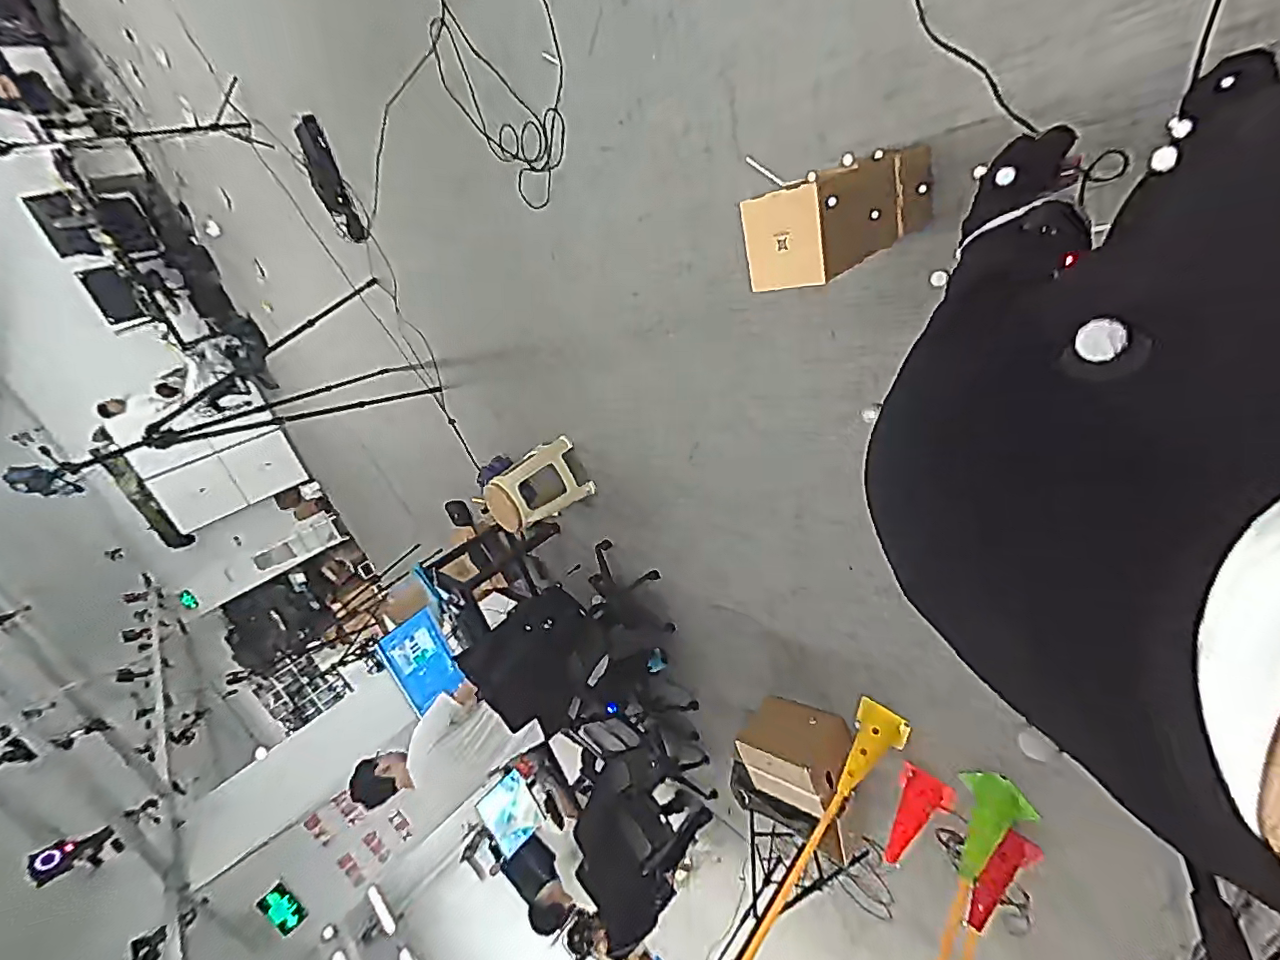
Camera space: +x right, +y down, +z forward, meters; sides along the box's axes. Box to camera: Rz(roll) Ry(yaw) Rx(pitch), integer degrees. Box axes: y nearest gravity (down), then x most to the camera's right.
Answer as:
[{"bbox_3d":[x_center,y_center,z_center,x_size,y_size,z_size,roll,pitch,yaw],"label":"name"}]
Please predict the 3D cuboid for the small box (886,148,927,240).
[{"bbox_3d":[0.550,-0.650,1.253,0.179,0.176,0.168,11,125,45],"label":"small box"}]

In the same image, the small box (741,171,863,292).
[{"bbox_3d":[0.327,-0.490,1.074,0.168,0.176,0.179,11,126,45],"label":"small box"}]

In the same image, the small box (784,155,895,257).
[{"bbox_3d":[0.434,-0.574,1.164,0.168,0.176,0.179,12,126,45],"label":"small box"}]
